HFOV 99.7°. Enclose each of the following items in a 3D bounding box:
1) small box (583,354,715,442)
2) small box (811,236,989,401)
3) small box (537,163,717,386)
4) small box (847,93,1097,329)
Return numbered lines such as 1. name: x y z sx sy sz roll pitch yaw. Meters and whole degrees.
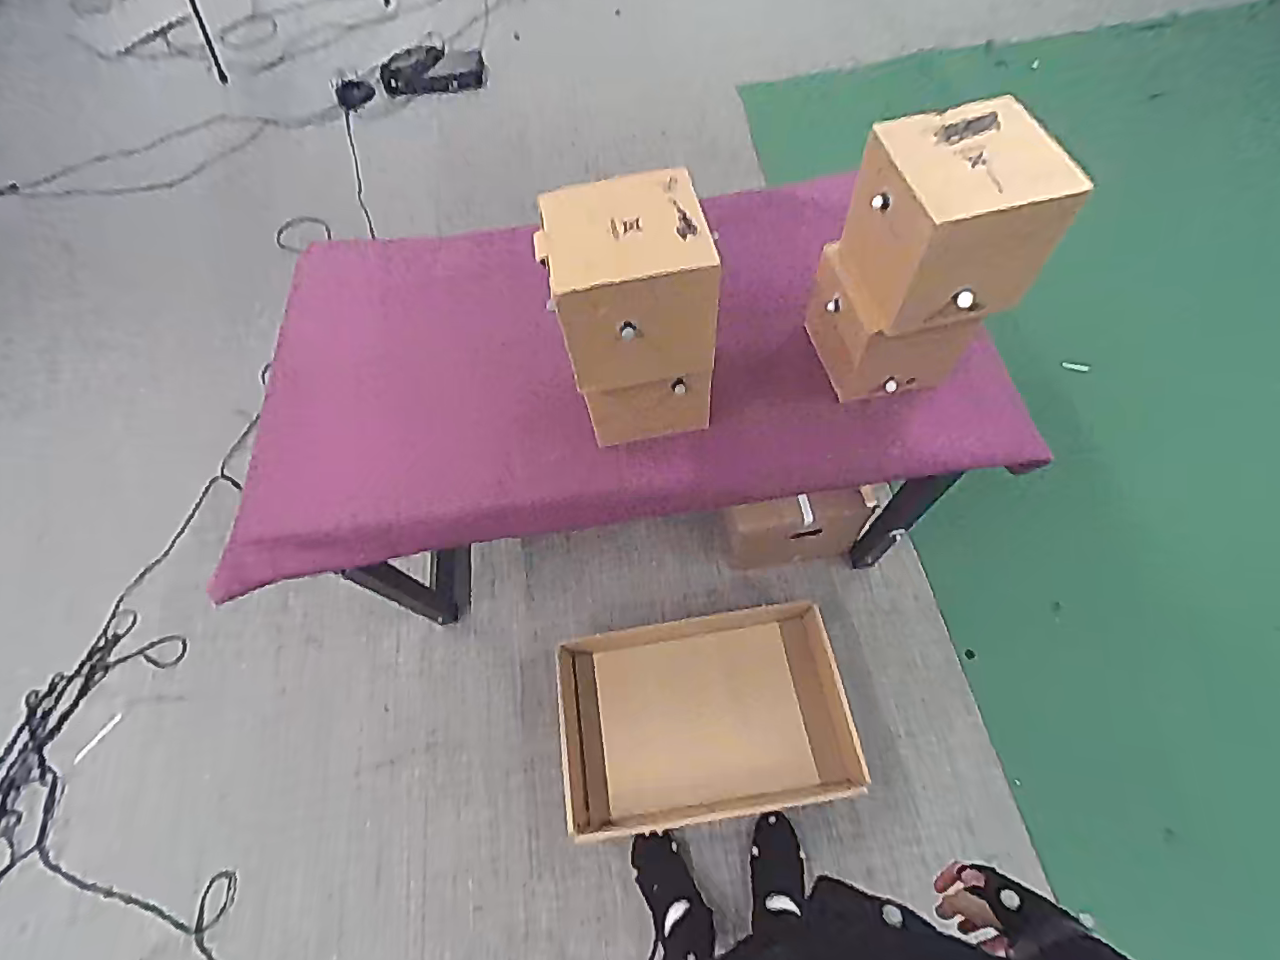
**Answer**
1. small box: 0.006 -0.176 0.798 0.179 0.176 0.168 -10 62 1
2. small box: 0.366 -0.245 0.796 0.168 0.176 0.179 -12 62 1
3. small box: -0.011 -0.233 0.644 0.179 0.176 0.168 -12 63 1
4. small box: 0.368 -0.312 0.645 0.168 0.176 0.179 -12 62 2
